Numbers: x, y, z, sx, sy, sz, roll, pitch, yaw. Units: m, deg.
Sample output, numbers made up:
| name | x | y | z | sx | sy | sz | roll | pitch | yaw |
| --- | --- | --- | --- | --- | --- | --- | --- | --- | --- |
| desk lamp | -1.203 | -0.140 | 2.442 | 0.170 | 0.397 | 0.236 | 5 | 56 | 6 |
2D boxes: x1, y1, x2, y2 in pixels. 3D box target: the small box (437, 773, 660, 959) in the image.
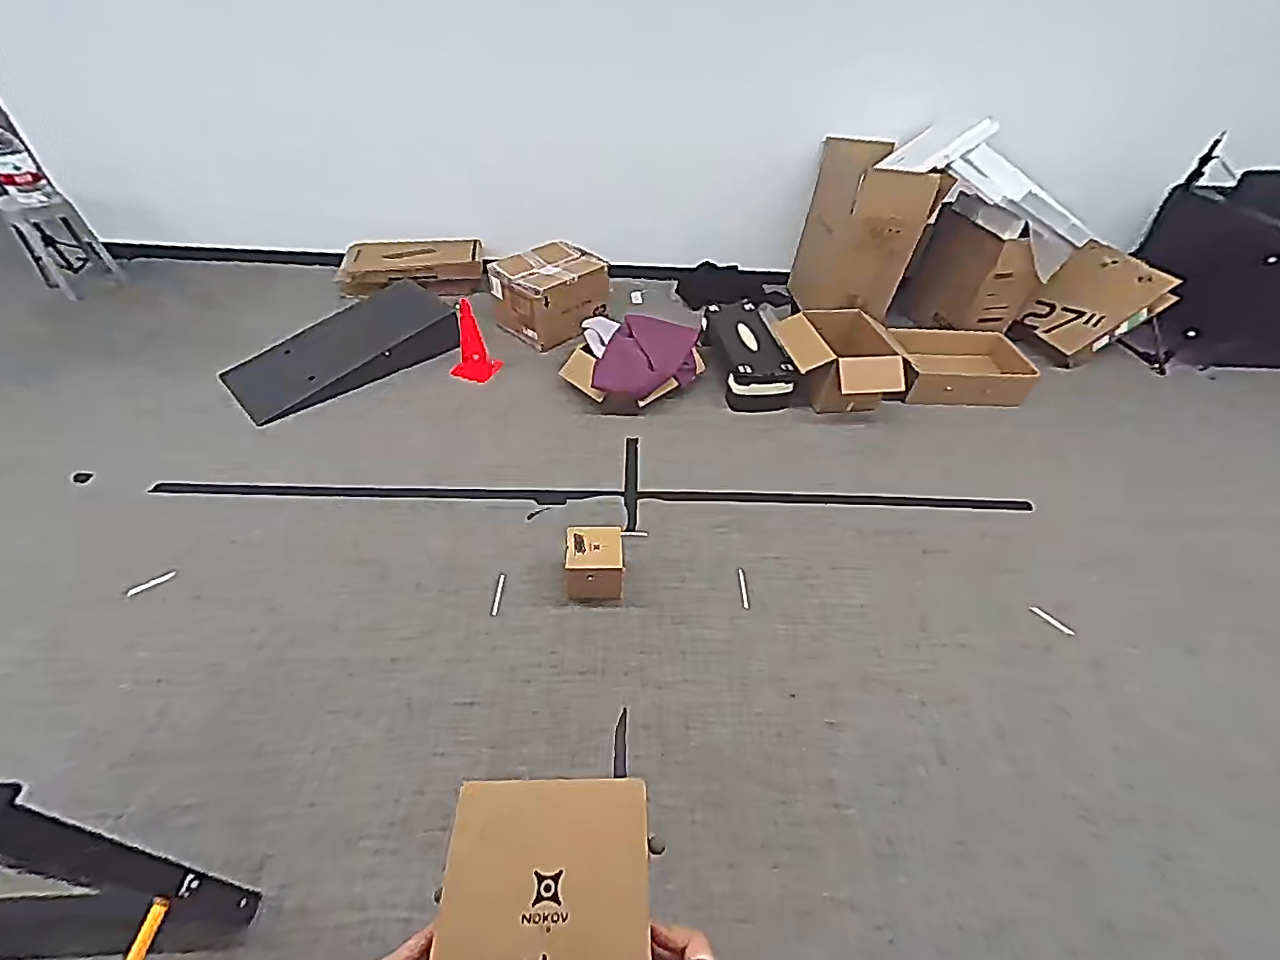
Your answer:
| name | x | y | z | sx | sy | sz | roll | pitch | yaw |
| --- | --- | --- | --- | --- | --- | --- | --- | --- | --- |
| small box | -0.070 | 0.380 | 0.477 | 0.168 | 0.176 | 0.179 | 0 | 47 | -2 |

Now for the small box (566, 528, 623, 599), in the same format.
| name | x | y | z | sx | sy | sz | roll | pitch | yaw |
| --- | --- | --- | --- | --- | --- | --- | --- | --- | --- |
| small box | -0.144 | 0.271 | 1.734 | 0.179 | 0.176 | 0.168 | 0 | 45 | -5 |
